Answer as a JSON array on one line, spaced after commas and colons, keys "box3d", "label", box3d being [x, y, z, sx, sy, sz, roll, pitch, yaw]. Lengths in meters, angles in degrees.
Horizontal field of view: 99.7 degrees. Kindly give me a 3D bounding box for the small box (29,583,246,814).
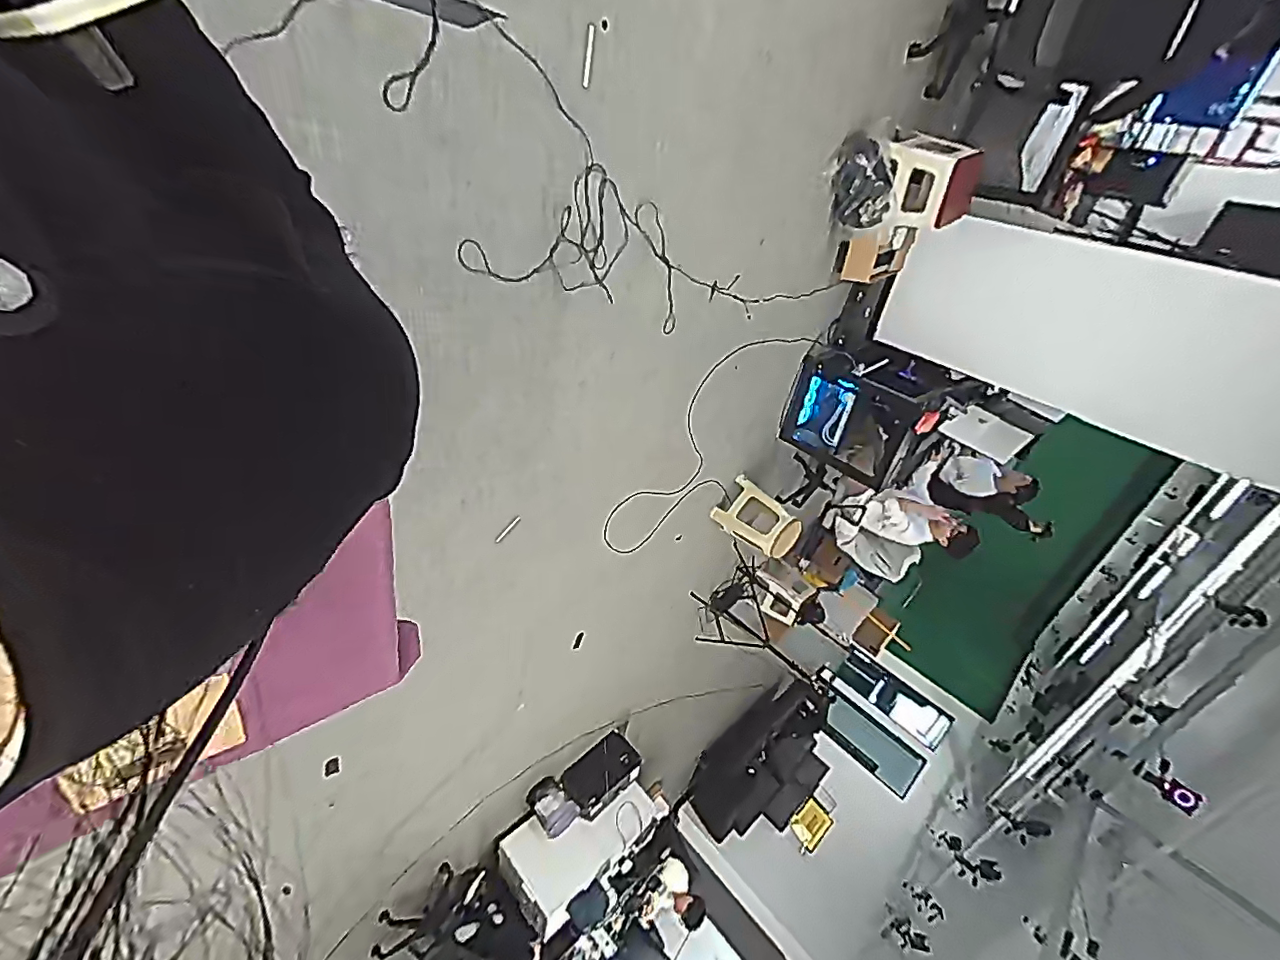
[{"box3d": [-0.635, 0.267, 0.693, 0.168, 0.176, 0.179, -18, 131, -42], "label": "small box"}]
